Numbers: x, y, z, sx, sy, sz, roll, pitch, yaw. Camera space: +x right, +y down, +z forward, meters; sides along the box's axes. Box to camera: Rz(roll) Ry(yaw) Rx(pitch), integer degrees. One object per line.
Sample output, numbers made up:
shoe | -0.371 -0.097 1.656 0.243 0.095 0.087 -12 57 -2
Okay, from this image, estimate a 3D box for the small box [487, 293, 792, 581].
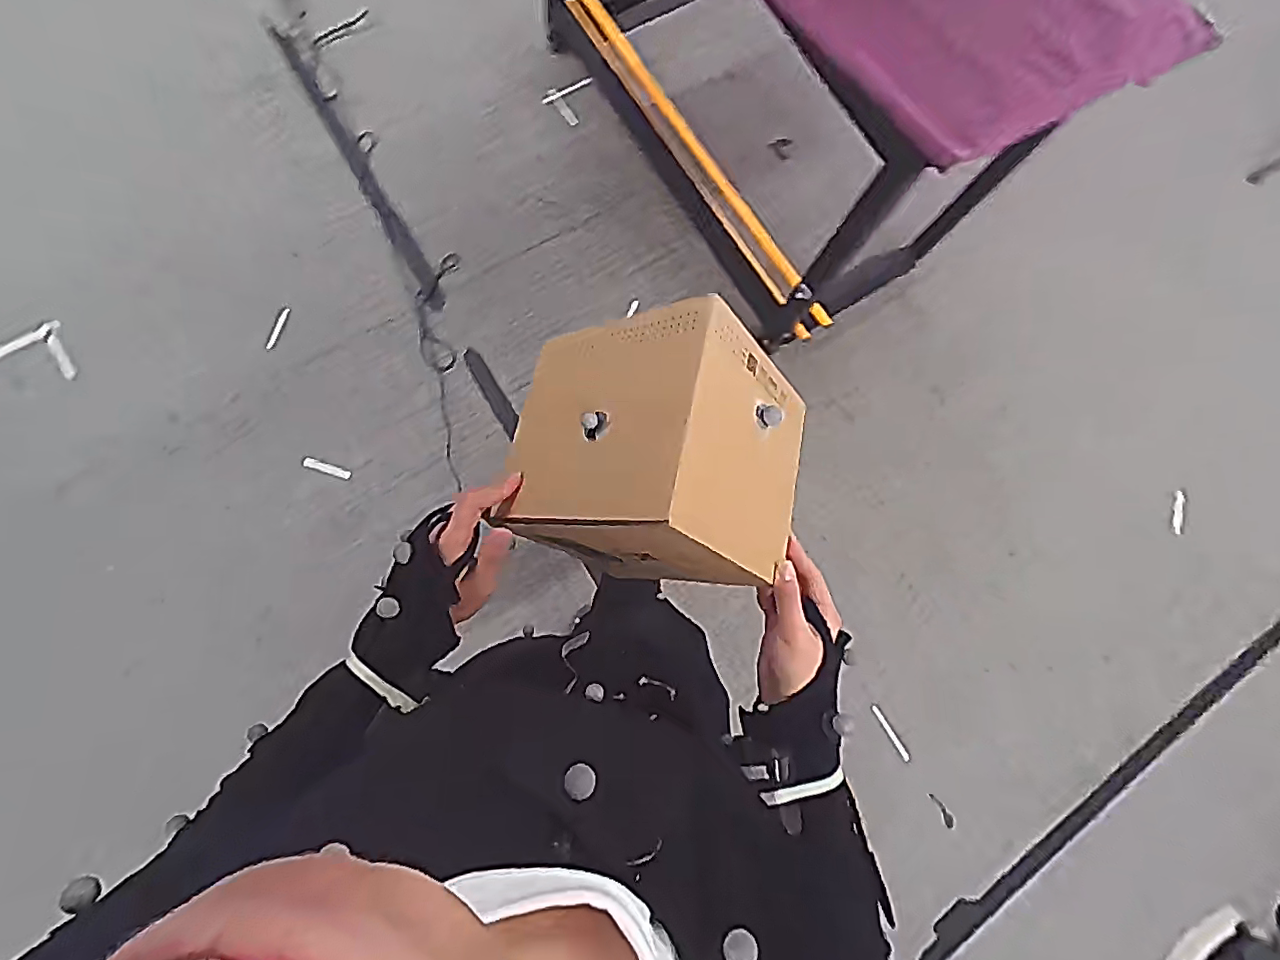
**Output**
small box | 0.010 -0.023 0.449 0.179 0.168 0.176 -4 67 38
